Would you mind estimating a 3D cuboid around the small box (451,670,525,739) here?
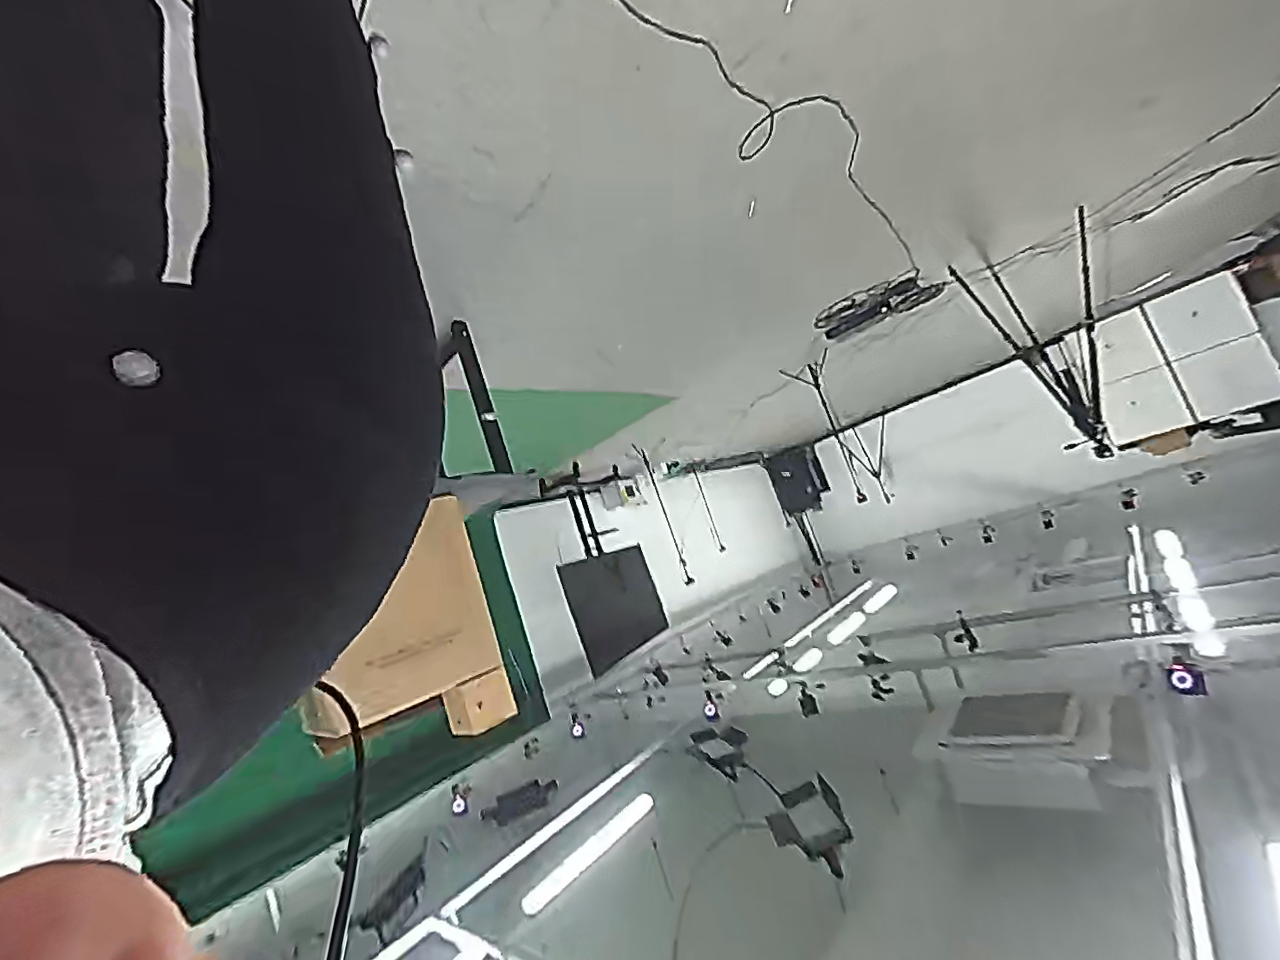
[{"bbox_3d":[-0.528,0.764,1.853,0.168,0.176,0.179,-11,170,-44],"label":"small box"}]
